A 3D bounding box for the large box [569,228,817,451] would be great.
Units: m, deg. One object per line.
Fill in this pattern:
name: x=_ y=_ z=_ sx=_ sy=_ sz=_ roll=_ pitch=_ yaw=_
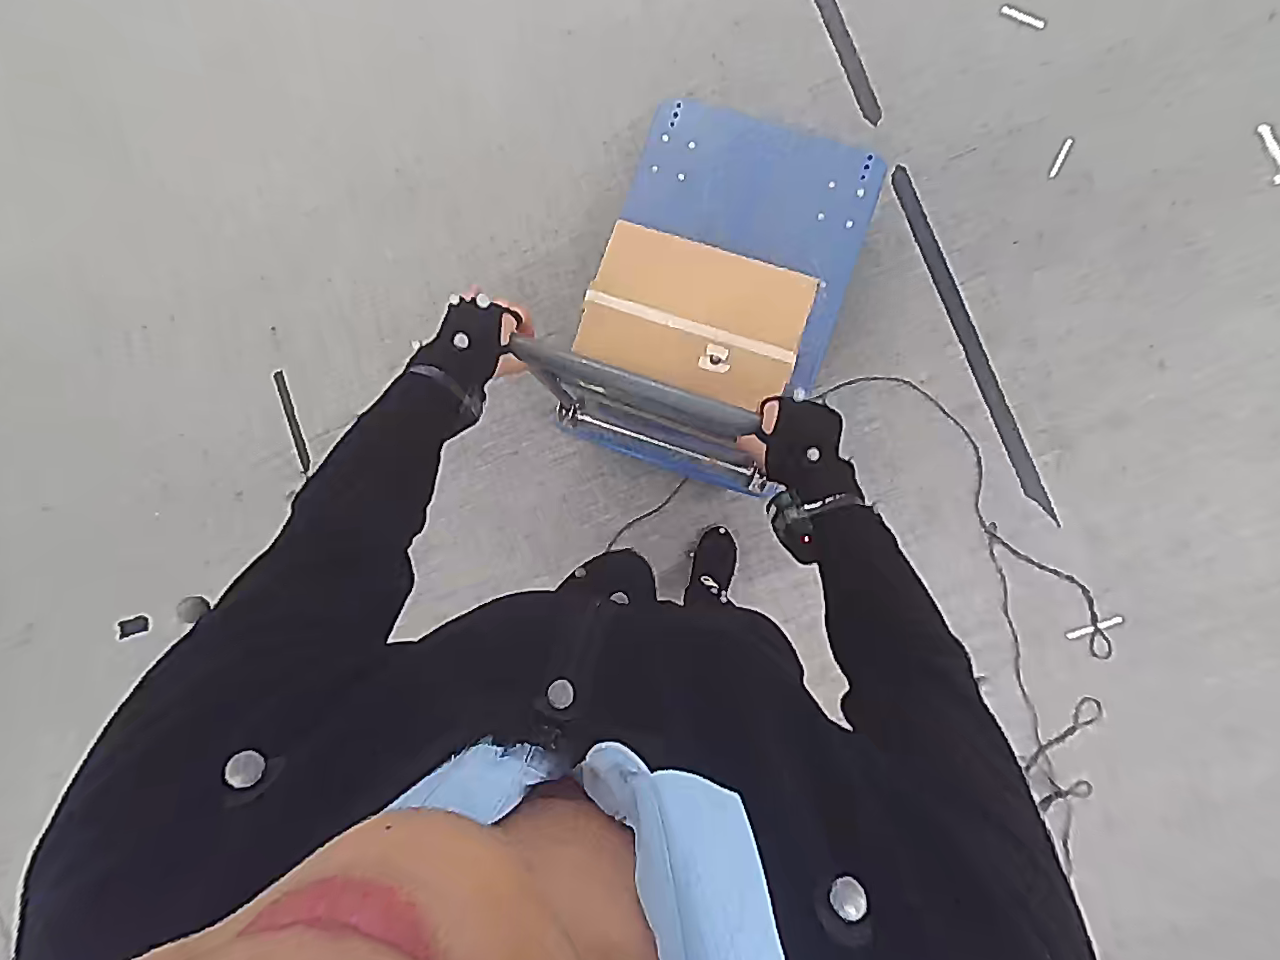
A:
large box: x=0.106 y=-0.277 z=1.167 sx=0.408 sy=0.320 sz=0.320 roll=19 pitch=91 yaw=5
